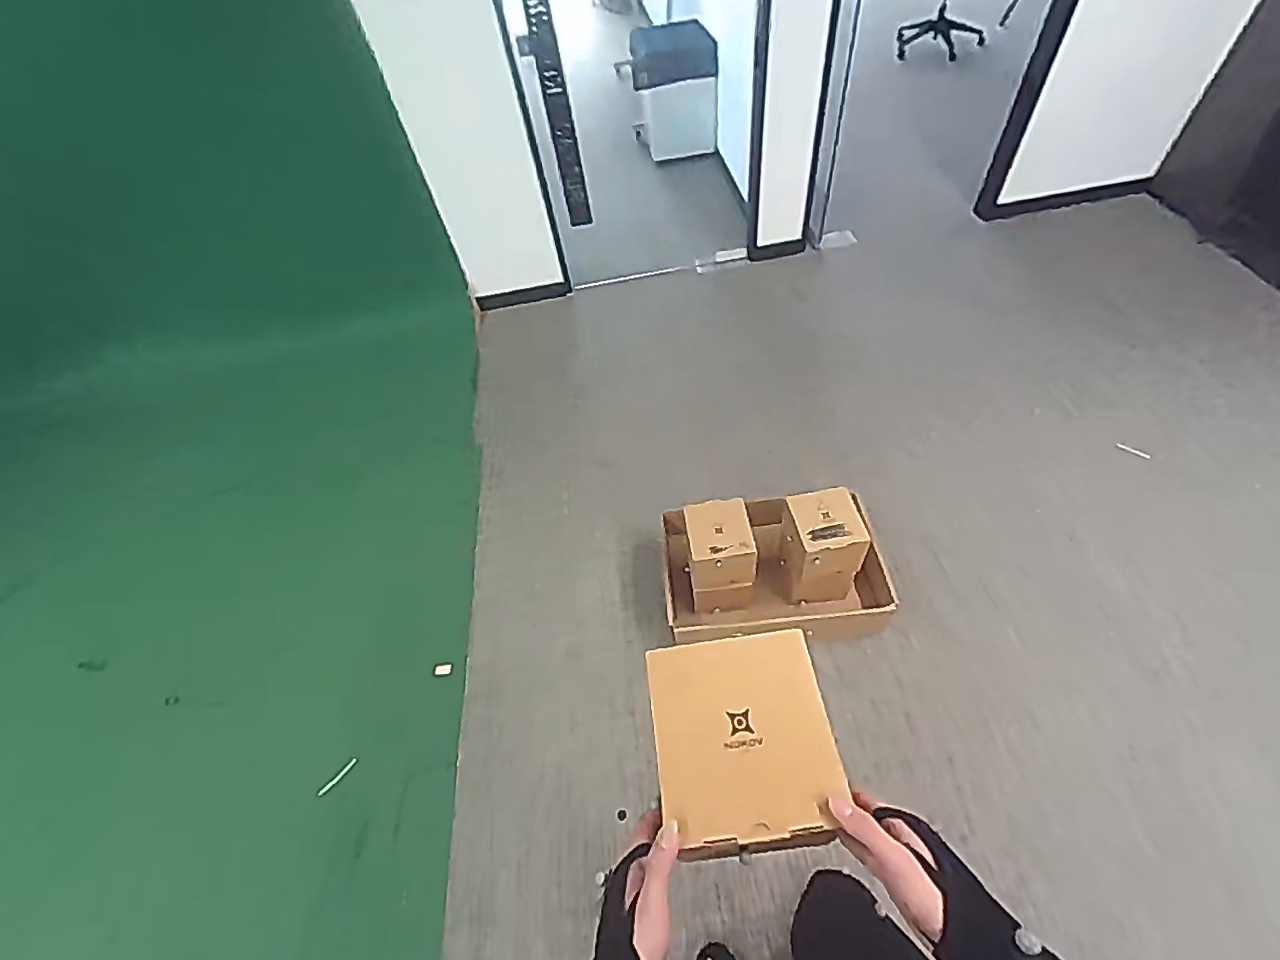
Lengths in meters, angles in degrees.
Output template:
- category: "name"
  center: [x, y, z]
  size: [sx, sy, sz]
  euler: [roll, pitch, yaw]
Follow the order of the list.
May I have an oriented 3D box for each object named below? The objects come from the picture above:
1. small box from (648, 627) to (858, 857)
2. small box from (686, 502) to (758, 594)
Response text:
- category: "small box"
  center: [0.102, 0.277, 0.567]
  size: [0.168, 0.176, 0.179]
  euler: [-8, 52, 2]
- category: "small box"
  center: [0.219, 0.185, 1.469]
  size: [0.168, 0.176, 0.179]
  euler: [-9, 50, 3]
